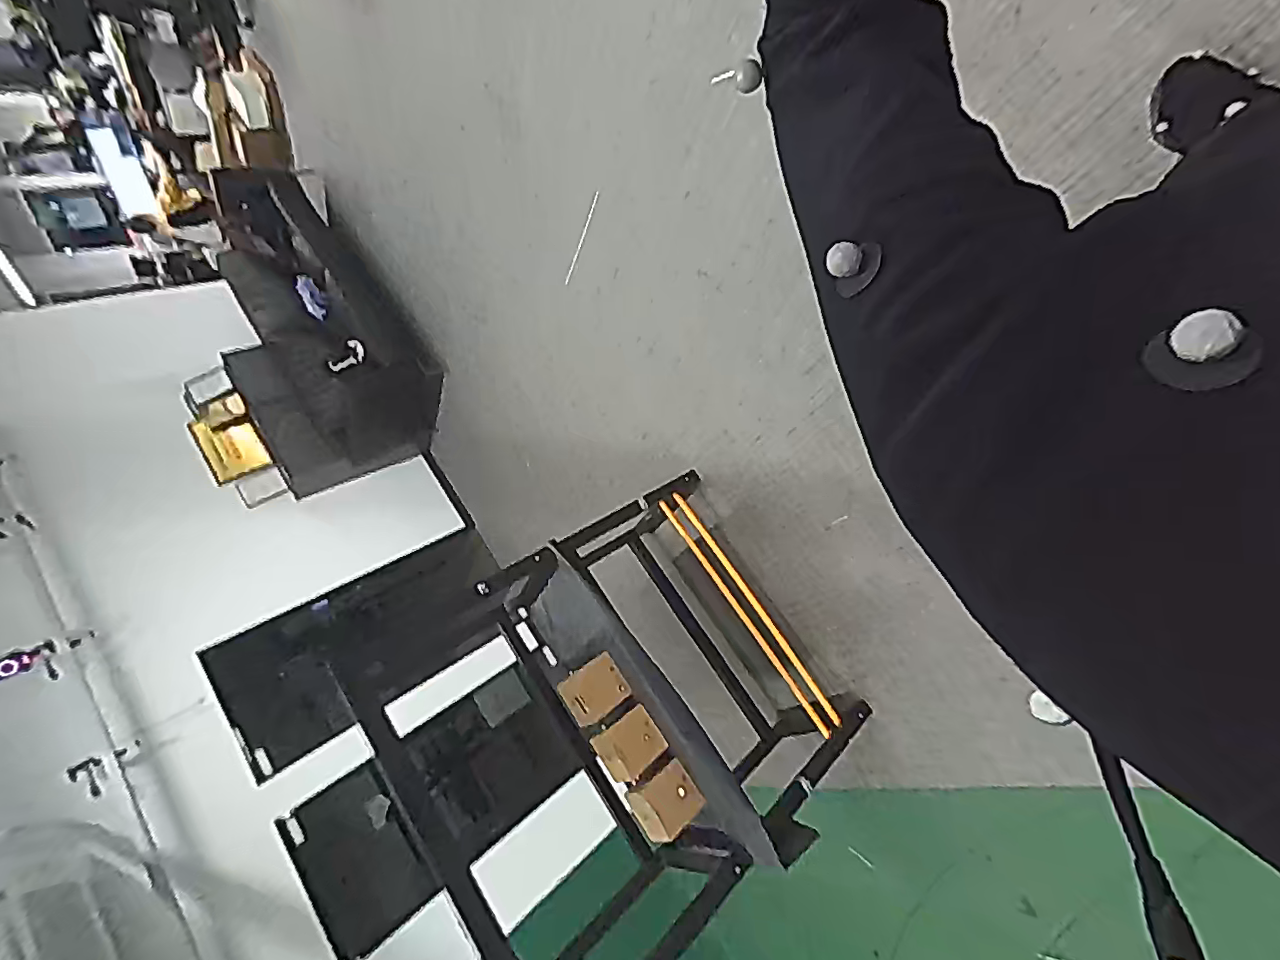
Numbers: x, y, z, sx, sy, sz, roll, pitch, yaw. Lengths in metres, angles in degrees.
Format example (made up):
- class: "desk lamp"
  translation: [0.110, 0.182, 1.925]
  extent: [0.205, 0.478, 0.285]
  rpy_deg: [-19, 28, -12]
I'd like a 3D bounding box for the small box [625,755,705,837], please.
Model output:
- class: "small box"
  translation: [0.085, 1.037, 1.781]
  extent: [0.168, 0.176, 0.179]
  rpy_deg: [53, 144, 14]
